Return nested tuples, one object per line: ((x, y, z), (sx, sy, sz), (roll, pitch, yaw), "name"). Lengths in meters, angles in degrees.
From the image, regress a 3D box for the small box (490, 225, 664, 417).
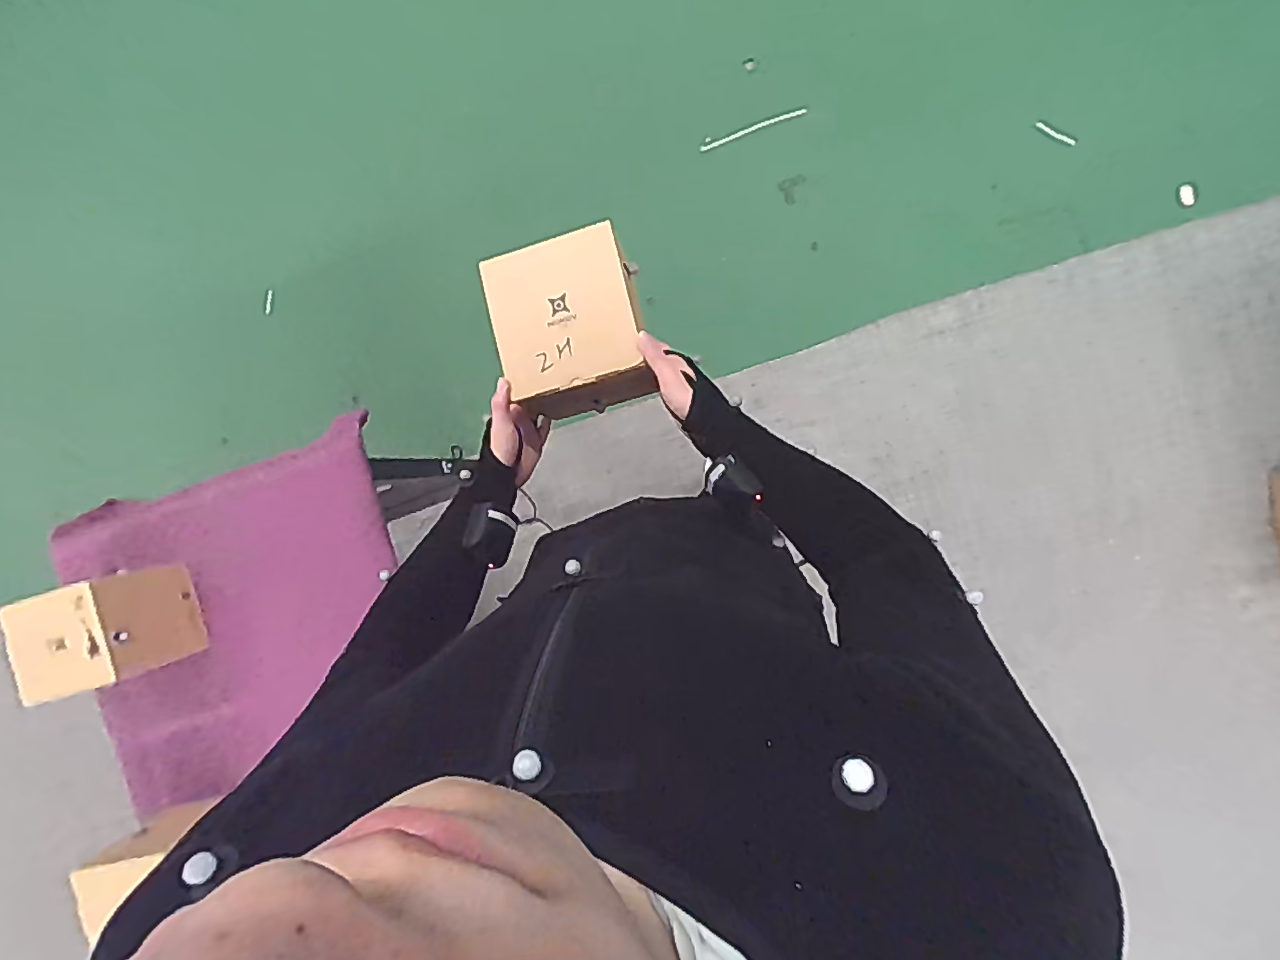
((-0.071, -0.192, 0.704), (0.168, 0.176, 0.179), (-14, 88, 8), "small box")

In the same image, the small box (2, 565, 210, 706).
((-0.908, 0.260, 0.934), (0.179, 0.176, 0.168), (-17, 92, 6), "small box")

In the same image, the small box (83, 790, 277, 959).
((-0.790, 0.680, 0.945), (0.179, 0.176, 0.168), (-15, 92, 5), "small box")
